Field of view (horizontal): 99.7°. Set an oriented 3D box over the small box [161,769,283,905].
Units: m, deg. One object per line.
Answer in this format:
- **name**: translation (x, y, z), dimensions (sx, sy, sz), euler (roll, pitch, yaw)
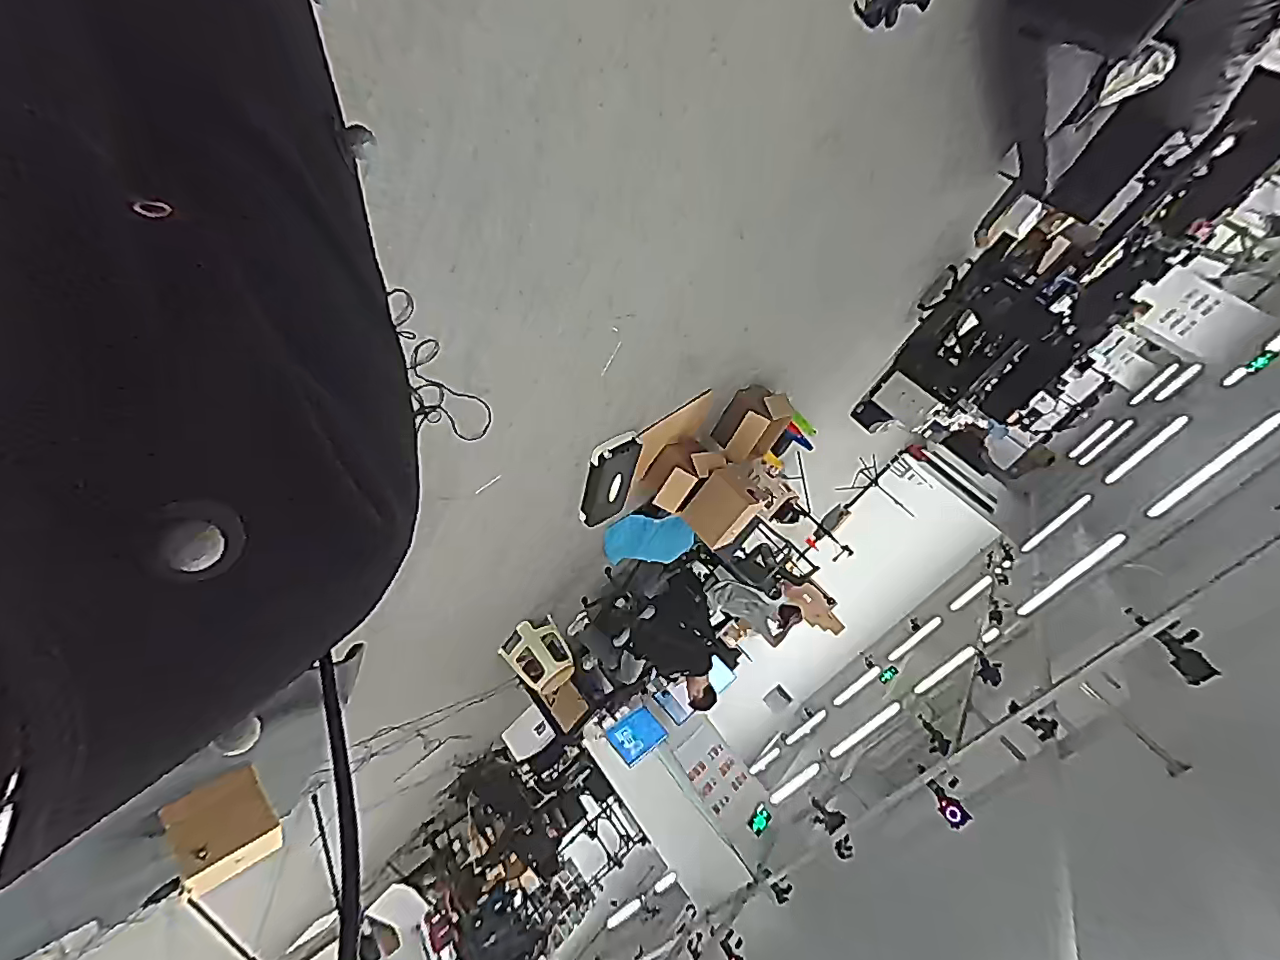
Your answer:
- **small box**: translation (-0.932, 0.794, 1.214), dimensions (0.179, 0.176, 0.168), euler (-19, 148, -44)
